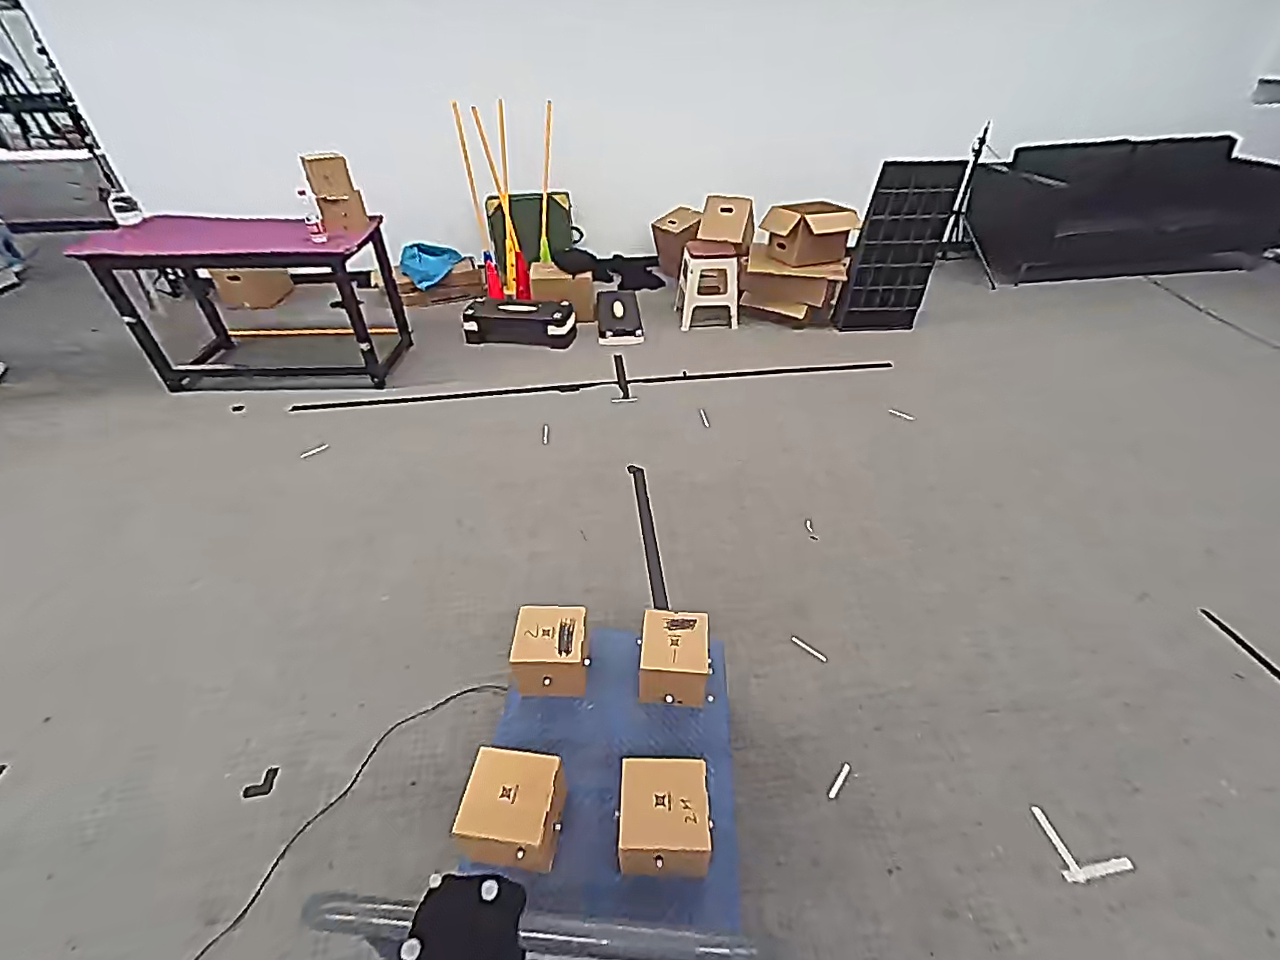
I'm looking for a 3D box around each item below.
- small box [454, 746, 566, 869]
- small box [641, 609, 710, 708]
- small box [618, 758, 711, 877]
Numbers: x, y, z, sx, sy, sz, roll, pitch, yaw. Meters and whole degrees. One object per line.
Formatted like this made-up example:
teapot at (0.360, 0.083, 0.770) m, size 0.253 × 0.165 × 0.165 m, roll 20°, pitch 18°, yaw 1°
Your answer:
small box at (-0.260, 0.685, 1.130) m, size 0.179 × 0.176 × 0.168 m, roll 6°, pitch 40°, yaw 4°
small box at (0.091, 0.460, 1.401) m, size 0.168 × 0.176 × 0.179 m, roll 4°, pitch 41°, yaw 4°
small box at (0.050, 0.696, 1.115) m, size 0.179 × 0.176 × 0.168 m, roll 1°, pitch 40°, yaw 2°
